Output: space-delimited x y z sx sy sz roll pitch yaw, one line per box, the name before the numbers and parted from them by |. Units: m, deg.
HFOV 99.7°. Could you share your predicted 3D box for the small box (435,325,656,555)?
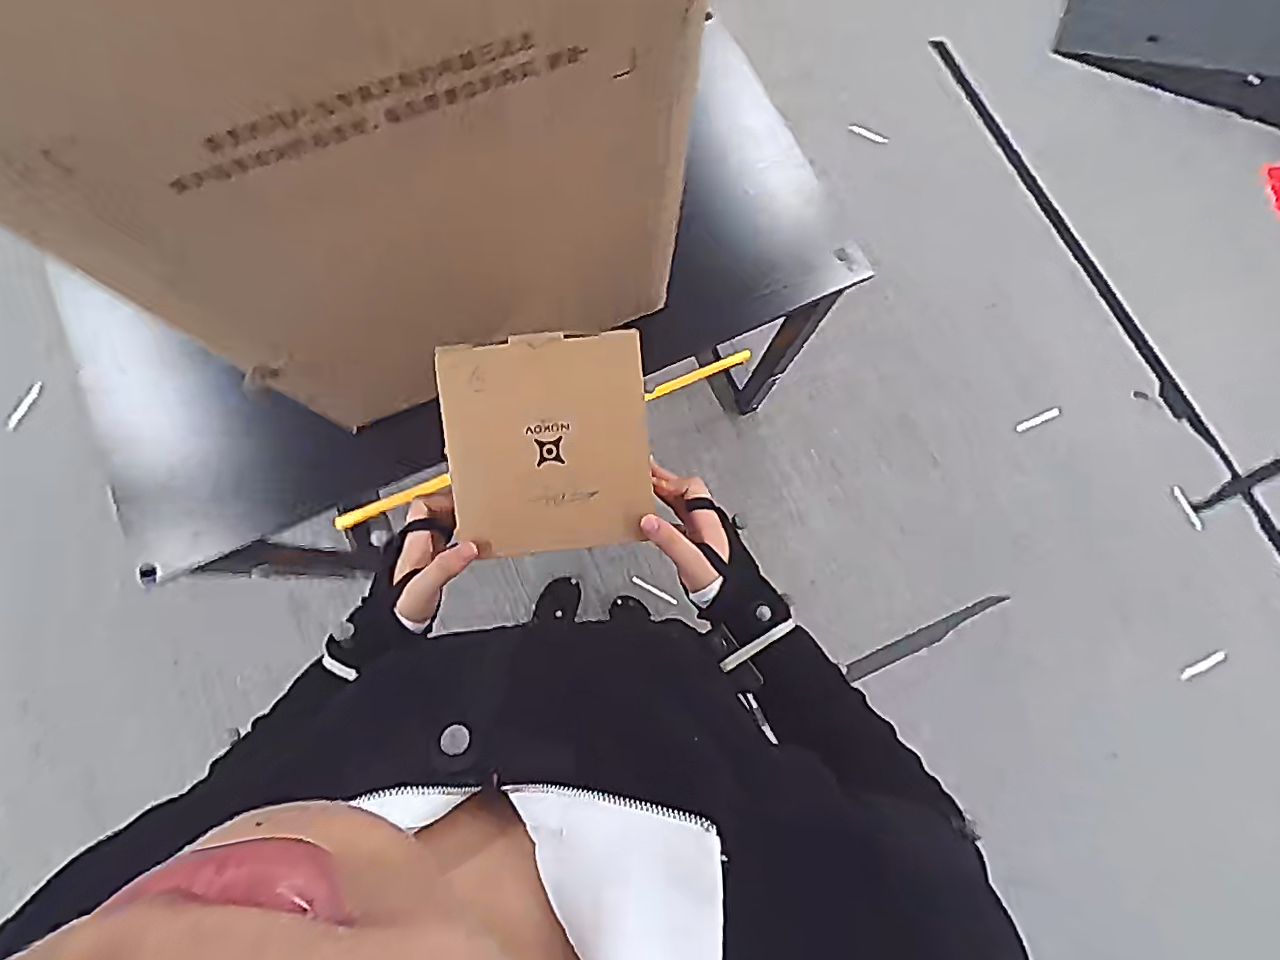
small box | -0.079 -0.038 0.515 0.168 0.176 0.179 -6 96 -2
